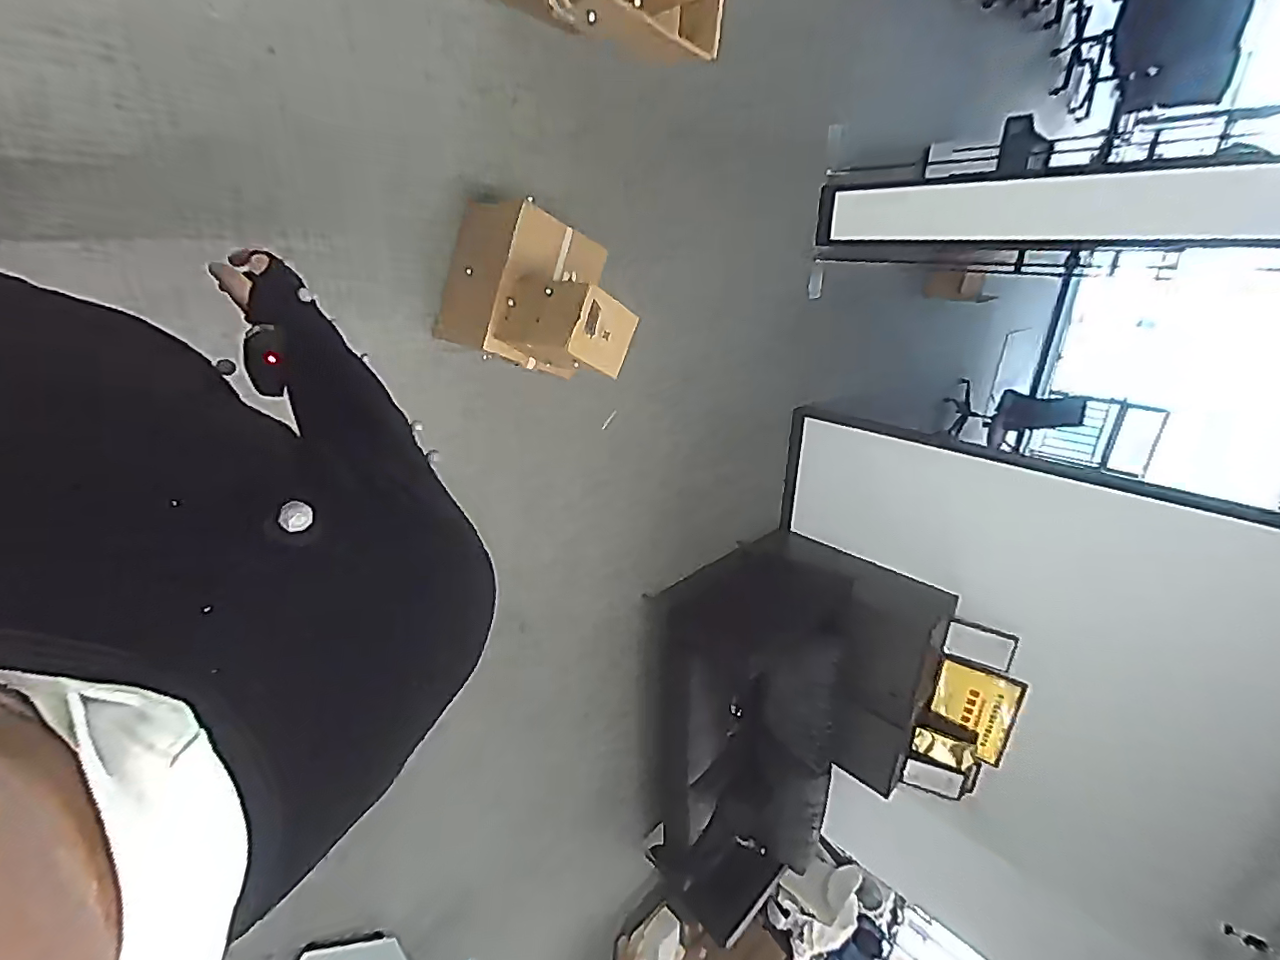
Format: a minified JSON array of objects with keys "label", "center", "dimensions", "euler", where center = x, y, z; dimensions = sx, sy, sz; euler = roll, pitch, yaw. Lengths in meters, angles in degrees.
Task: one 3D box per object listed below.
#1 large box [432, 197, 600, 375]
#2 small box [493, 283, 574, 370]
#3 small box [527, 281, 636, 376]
[{"label":"large box","center":[-0.377,-0.566,1.624],"dimensions":[0.320,0.320,0.408],"euler":[10,99,-49]},{"label":"small box","center":[-0.259,-0.415,1.444],"dimensions":[0.179,0.176,0.168],"euler":[20,92,-48]},{"label":"small box","center":[-0.148,-0.372,1.331],"dimensions":[0.179,0.176,0.168],"euler":[20,91,-49]}]
